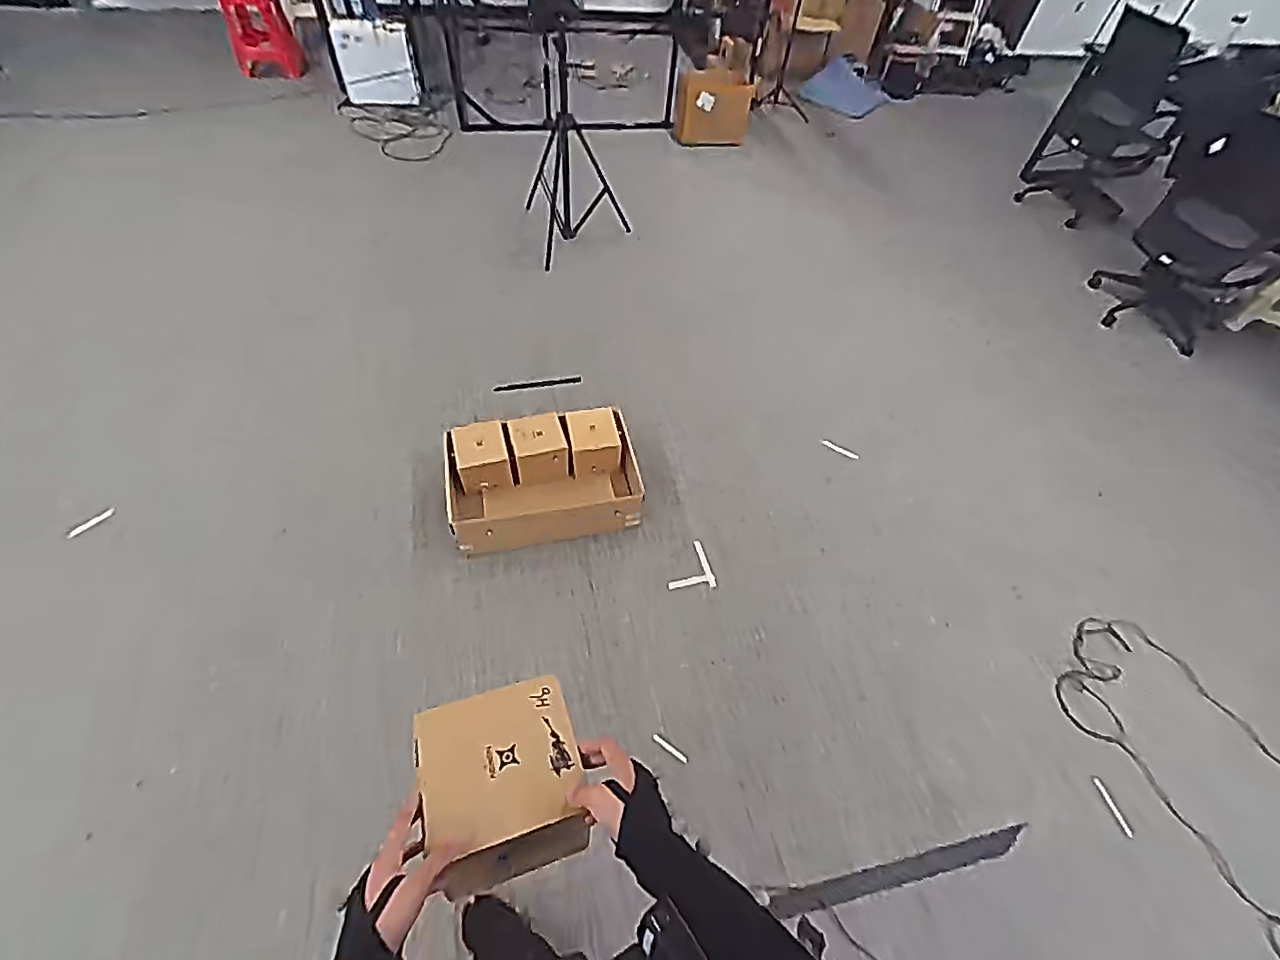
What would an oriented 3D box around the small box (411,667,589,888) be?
[{"bbox_3d":[-0.166,0.363,0.660,0.179,0.176,0.168,-11,47,-18],"label":"small box"}]
